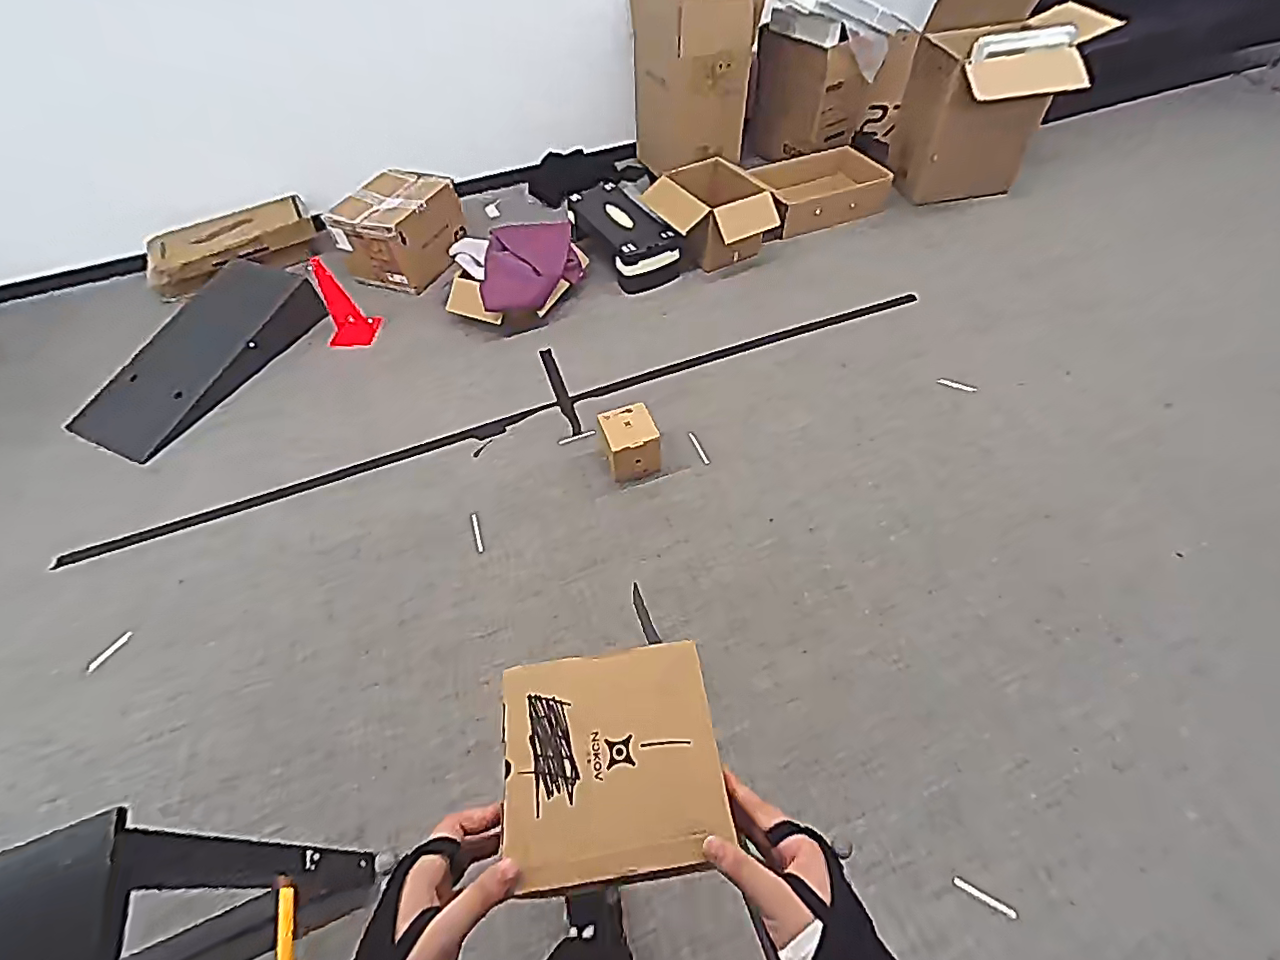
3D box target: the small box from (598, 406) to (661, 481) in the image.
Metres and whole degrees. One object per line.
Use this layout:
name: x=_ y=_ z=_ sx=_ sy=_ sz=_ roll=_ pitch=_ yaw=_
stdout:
small box: x=-0.031 y=-0.116 z=1.831 sx=0.168 sy=0.176 sz=0.179 roll=-17 pitch=54 yaw=-9

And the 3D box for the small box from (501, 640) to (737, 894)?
small box: x=-0.018 y=0.268 z=0.499 sx=0.179 sy=0.176 sz=0.168 roll=-8 pitch=52 yaw=-2
